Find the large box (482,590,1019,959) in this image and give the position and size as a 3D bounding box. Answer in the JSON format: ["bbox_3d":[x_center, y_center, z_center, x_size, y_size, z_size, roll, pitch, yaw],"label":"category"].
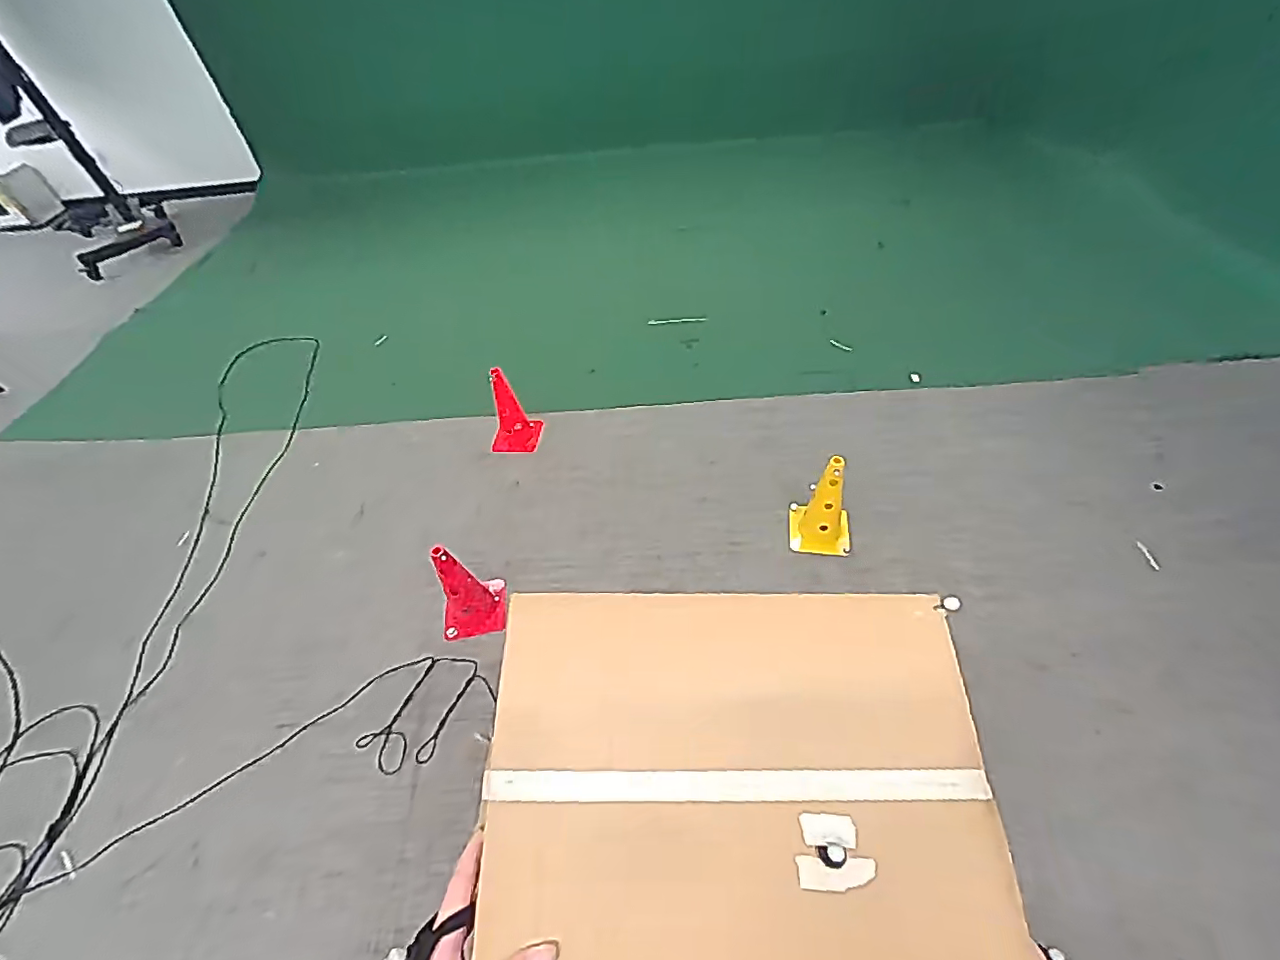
[{"bbox_3d":[0.076,0.314,0.585,0.408,0.320,0.320,0,63,-1],"label":"large box"}]

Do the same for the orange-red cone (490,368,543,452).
[{"bbox_3d":[-0.551,-0.307,2.226,0.199,0.360,0.198,2,48,10],"label":"orange-red cone"}]
